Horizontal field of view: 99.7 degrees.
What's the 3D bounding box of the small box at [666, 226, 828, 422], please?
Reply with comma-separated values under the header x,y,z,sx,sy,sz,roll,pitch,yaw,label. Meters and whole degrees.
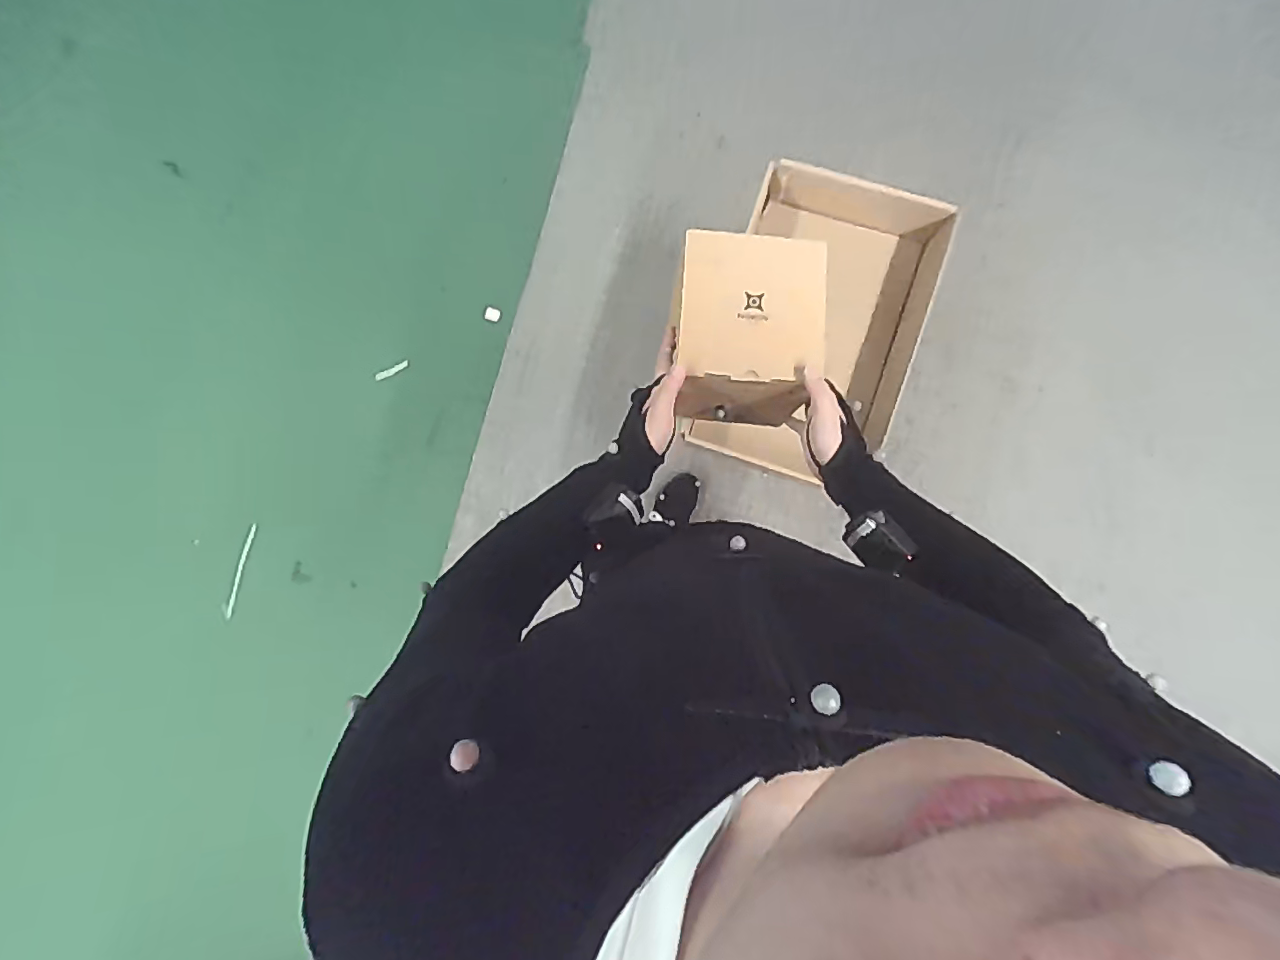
x,y,z,sx,sy,sz,roll,pitch,yaw,label
0.124,-0.184,0.679,0.168,0.176,0.179,4,82,-1,small box
